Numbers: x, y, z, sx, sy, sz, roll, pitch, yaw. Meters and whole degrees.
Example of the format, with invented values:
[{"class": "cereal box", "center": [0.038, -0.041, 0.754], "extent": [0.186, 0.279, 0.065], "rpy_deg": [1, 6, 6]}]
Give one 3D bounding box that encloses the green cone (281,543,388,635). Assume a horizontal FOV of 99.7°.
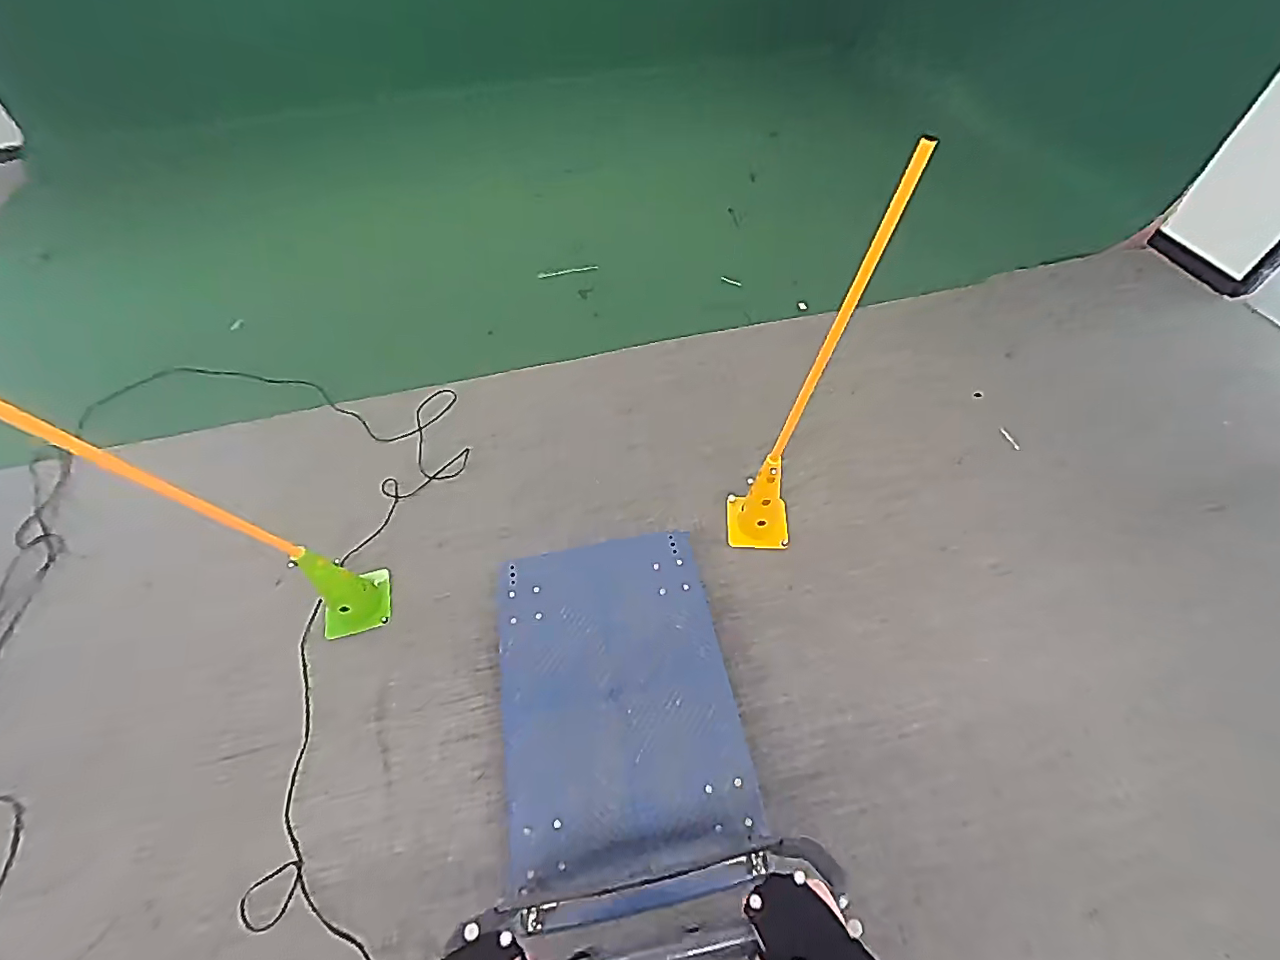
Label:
[{"class": "green cone", "center": [-0.917, 0.281, 1.583], "extent": [0.202, 0.368, 0.200], "rpy_deg": [-16, 55, -7]}]
